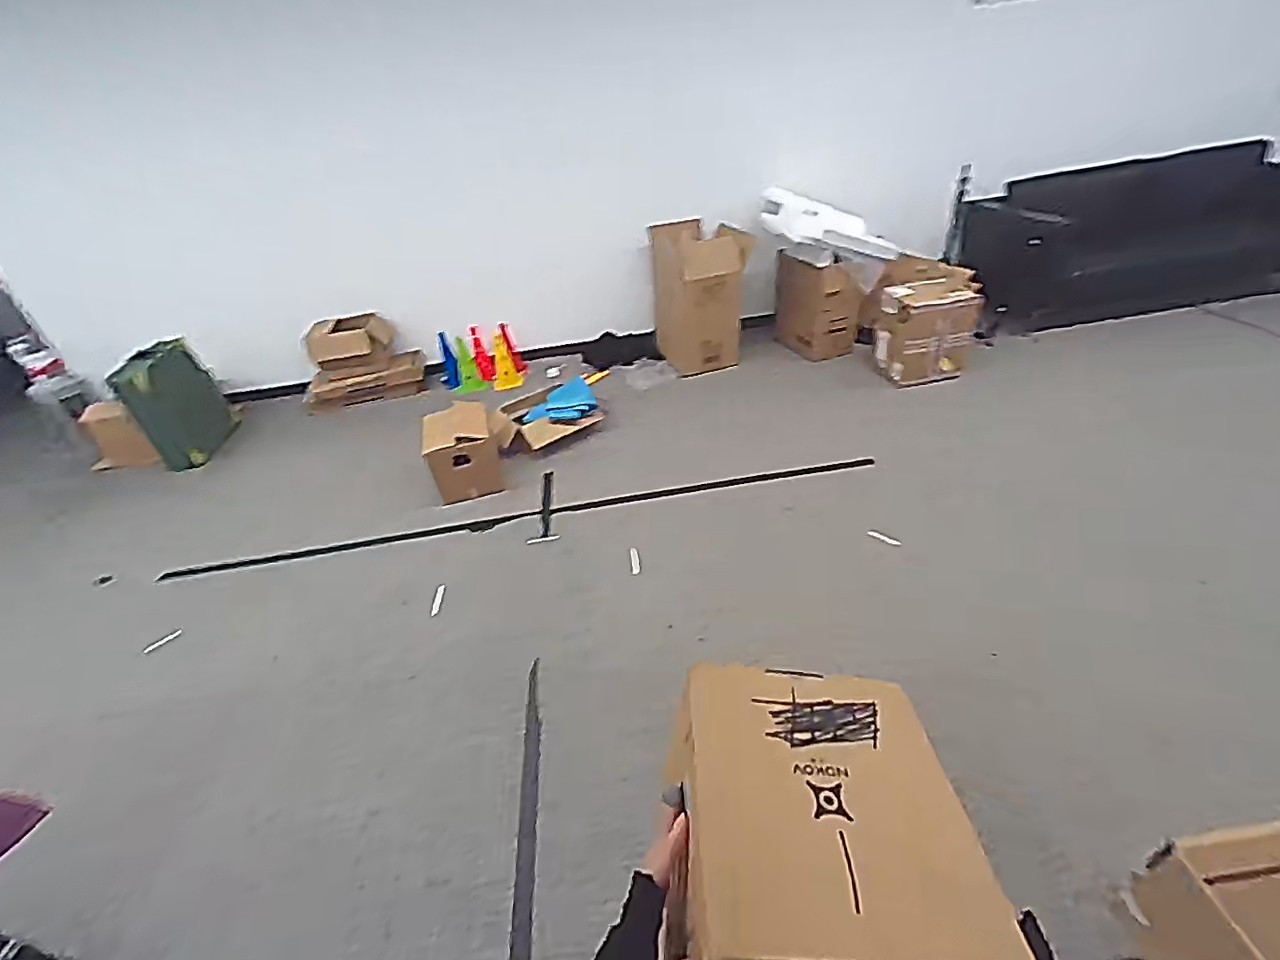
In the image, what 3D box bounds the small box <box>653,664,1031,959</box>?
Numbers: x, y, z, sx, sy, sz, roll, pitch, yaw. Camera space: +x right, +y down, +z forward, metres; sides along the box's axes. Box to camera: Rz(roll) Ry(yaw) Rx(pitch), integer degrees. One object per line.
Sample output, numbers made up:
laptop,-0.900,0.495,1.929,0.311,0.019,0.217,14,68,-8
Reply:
small box,0.102,0.255,0.370,0.168,0.176,0.179,4,26,-5
